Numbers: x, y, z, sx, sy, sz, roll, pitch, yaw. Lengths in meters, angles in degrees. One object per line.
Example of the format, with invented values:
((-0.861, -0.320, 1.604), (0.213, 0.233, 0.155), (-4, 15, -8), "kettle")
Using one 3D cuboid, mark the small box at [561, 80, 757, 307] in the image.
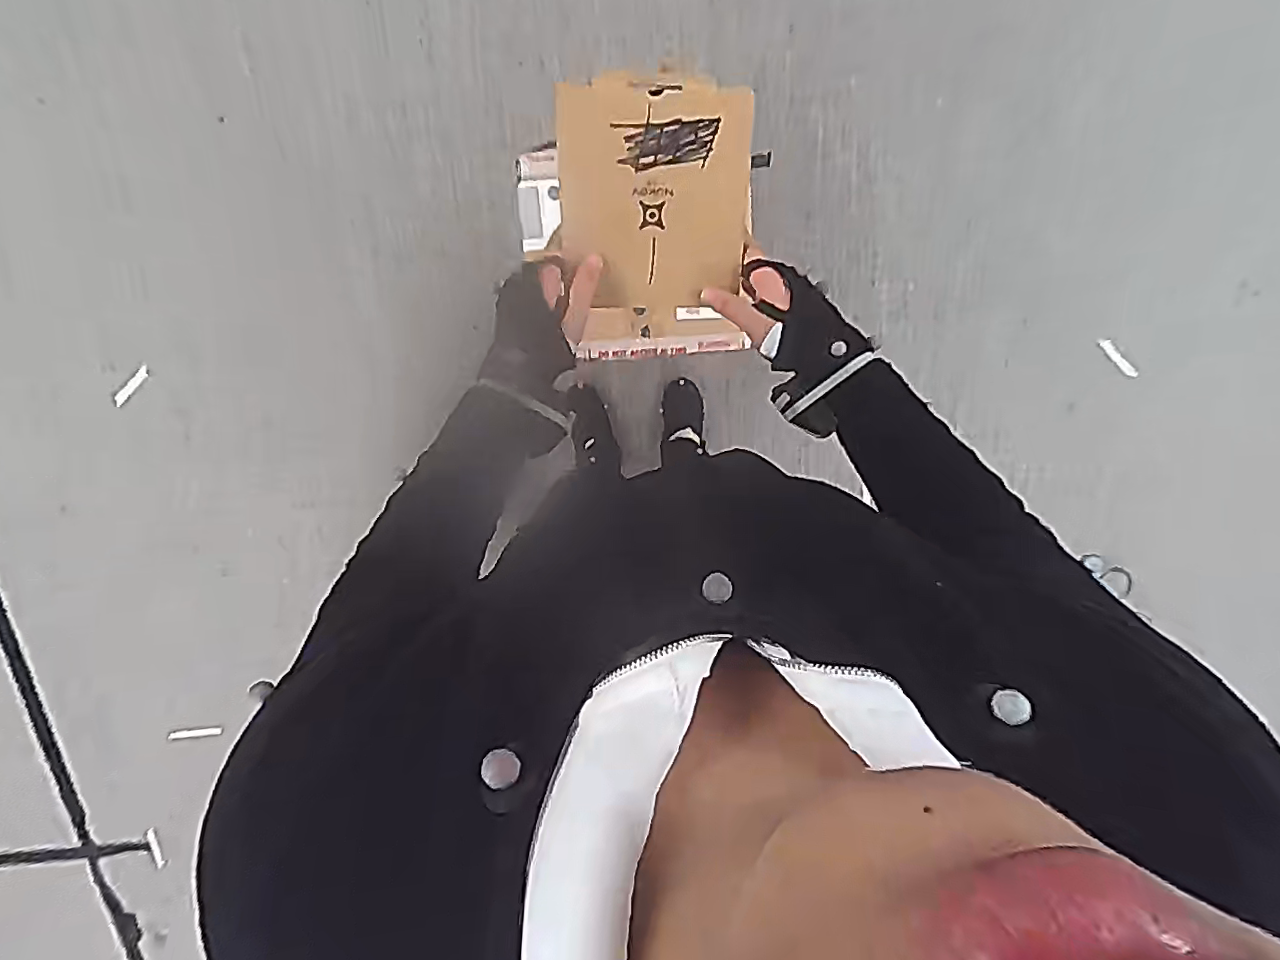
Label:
((0.010, -0.273, 0.545), (0.168, 0.176, 0.179), (-1, 113, -3), "small box")
